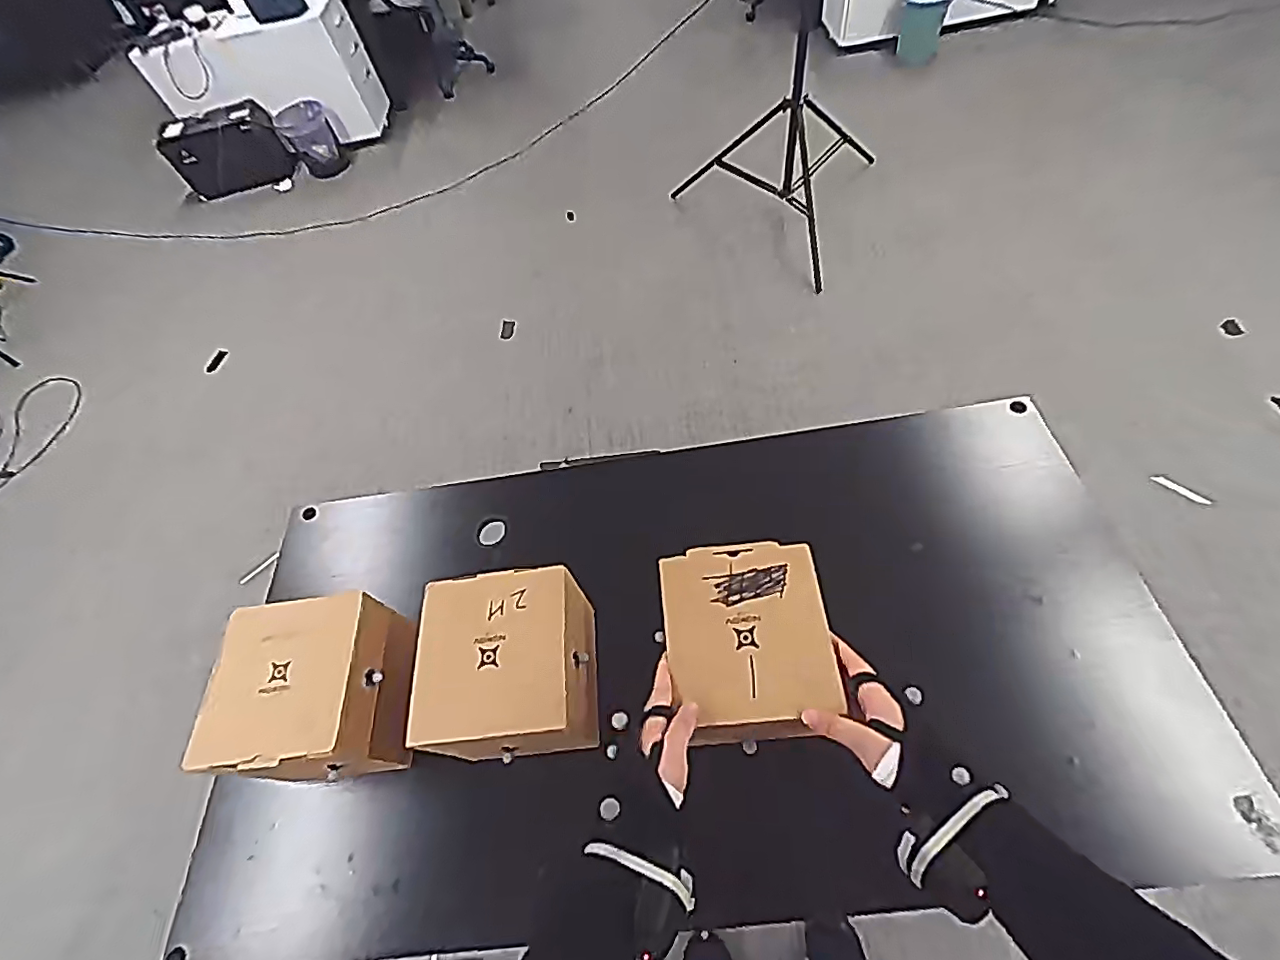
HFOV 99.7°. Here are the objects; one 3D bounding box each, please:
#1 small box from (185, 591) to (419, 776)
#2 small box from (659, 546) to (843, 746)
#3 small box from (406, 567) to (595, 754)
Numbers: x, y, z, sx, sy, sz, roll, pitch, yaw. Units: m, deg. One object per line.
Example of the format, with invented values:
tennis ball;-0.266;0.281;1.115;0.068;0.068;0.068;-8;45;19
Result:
small box;-0.387;0.257;0.663;0.168;0.176;0.179;-8;57;2
small box;0.114;0.195;0.619;0.168;0.176;0.179;-7;59;4
small box;-0.150;0.223;0.644;0.168;0.176;0.179;-8;58;3
